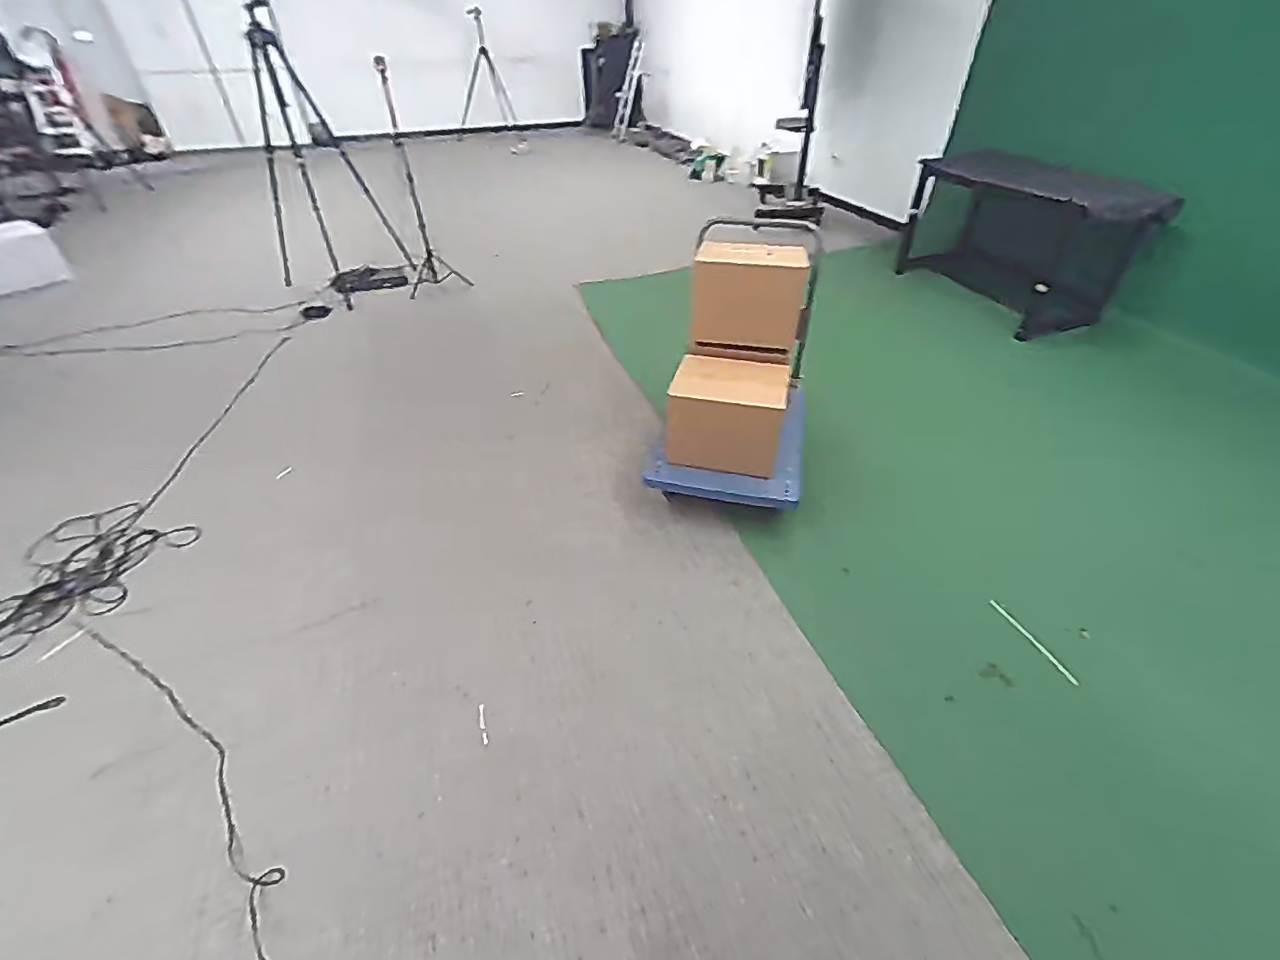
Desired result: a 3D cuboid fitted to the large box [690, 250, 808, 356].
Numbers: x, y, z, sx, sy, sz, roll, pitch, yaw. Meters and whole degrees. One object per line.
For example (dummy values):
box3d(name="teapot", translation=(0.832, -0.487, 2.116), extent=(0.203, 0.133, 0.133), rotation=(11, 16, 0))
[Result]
box3d(name="large box", translation=(0.423, -0.703, 2.133), extent=(0.408, 0.320, 0.320), rotation=(8, 36, 9))
